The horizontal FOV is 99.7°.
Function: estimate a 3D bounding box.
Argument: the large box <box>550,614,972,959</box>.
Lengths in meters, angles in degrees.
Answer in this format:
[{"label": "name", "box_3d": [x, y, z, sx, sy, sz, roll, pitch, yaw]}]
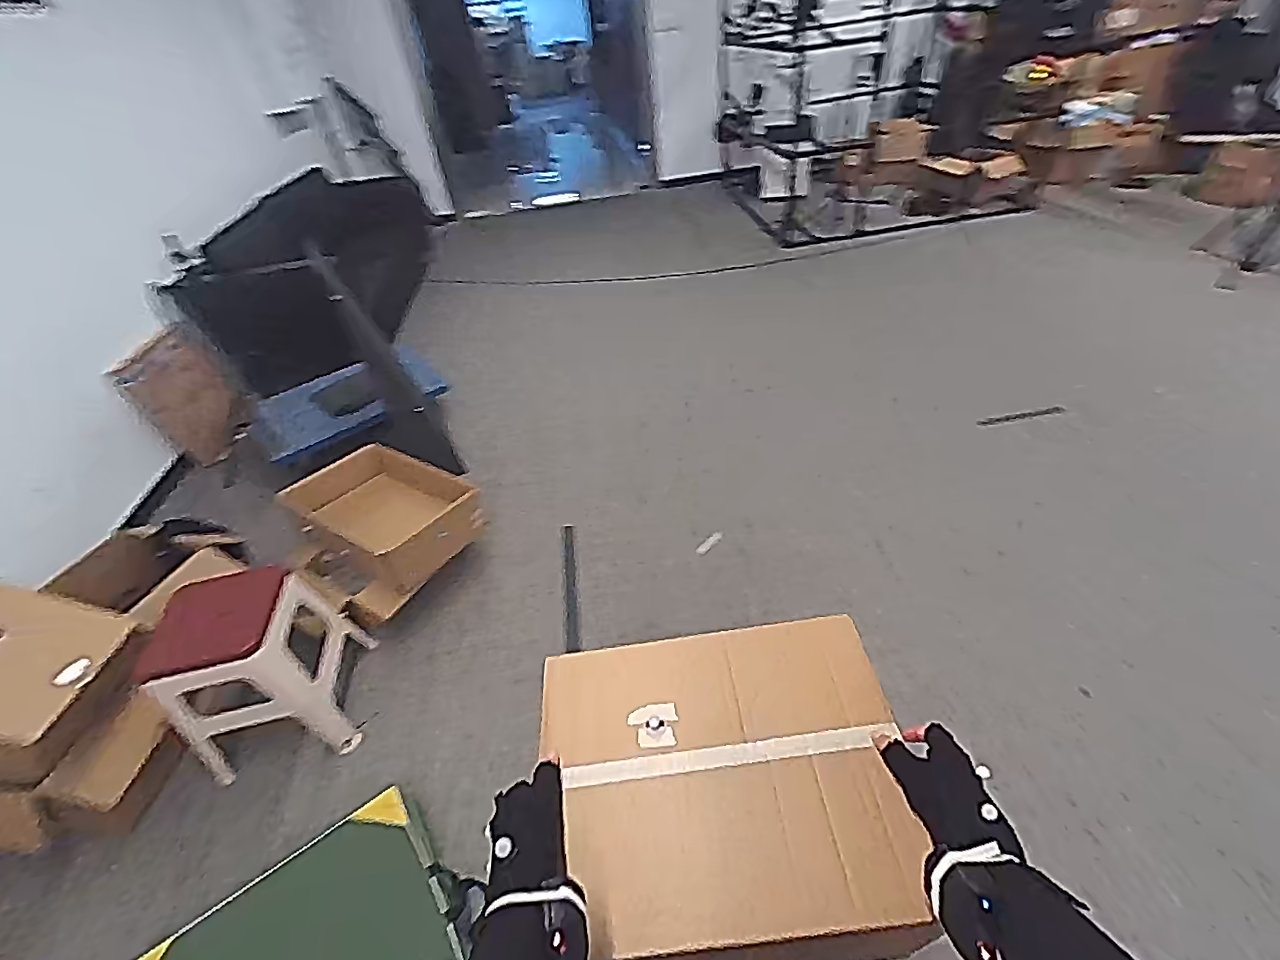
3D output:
[{"label": "large box", "box_3d": [0.124, 0.415, 0.711, 0.408, 0.320, 0.320, -9, 42, 4]}]
